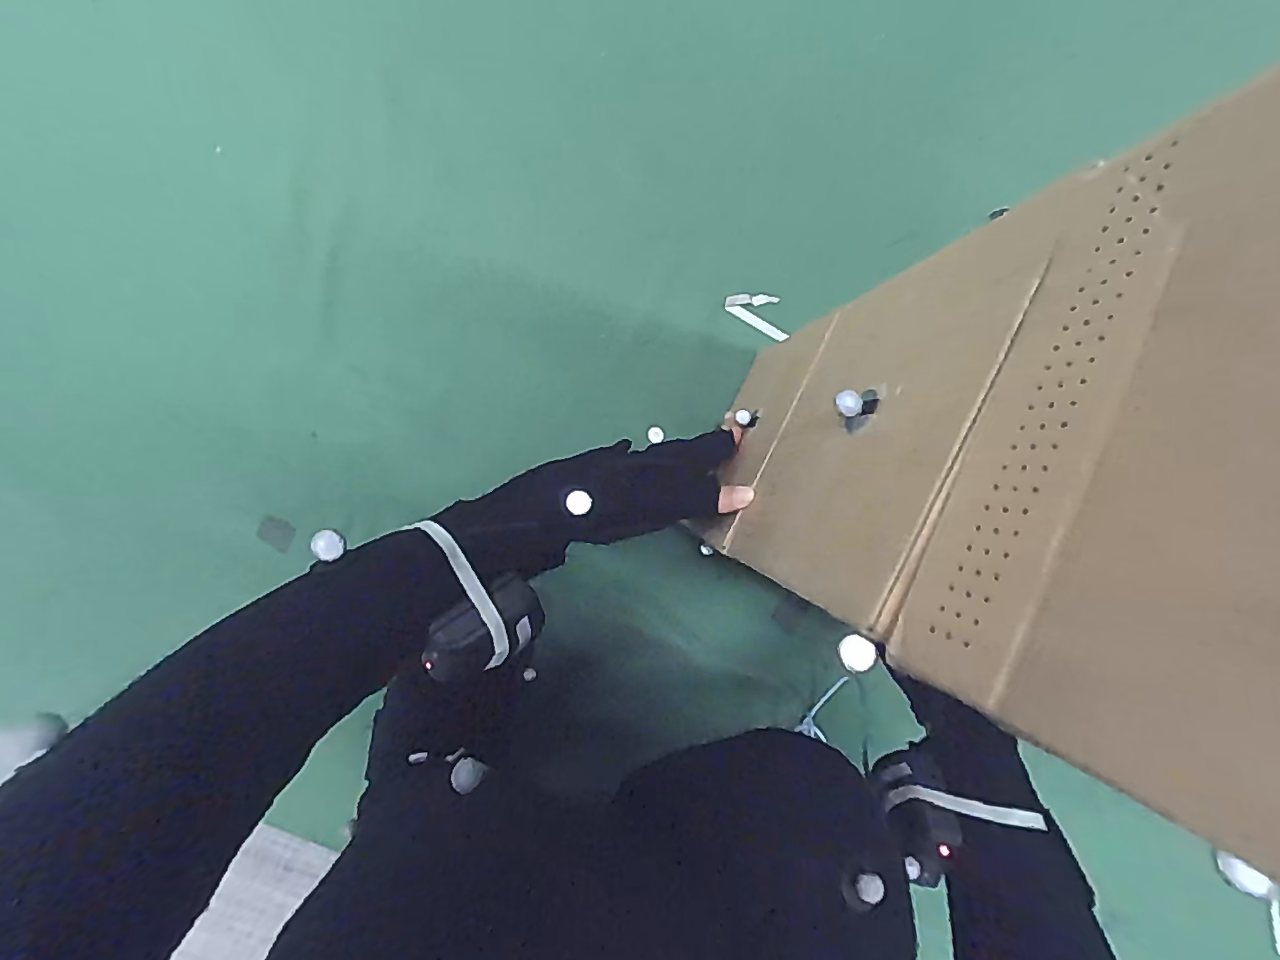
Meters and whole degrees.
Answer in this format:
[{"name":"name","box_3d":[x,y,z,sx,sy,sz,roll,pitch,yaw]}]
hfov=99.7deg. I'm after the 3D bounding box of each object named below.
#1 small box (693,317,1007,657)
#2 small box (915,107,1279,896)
[{"name":"small box","box_3d":[0.154,0.006,0.430,0.168,0.176,0.179,26,88,-6]},{"name":"small box","box_3d":[0.195,0.015,0.106,0.168,0.176,0.179,24,89,-7]}]
